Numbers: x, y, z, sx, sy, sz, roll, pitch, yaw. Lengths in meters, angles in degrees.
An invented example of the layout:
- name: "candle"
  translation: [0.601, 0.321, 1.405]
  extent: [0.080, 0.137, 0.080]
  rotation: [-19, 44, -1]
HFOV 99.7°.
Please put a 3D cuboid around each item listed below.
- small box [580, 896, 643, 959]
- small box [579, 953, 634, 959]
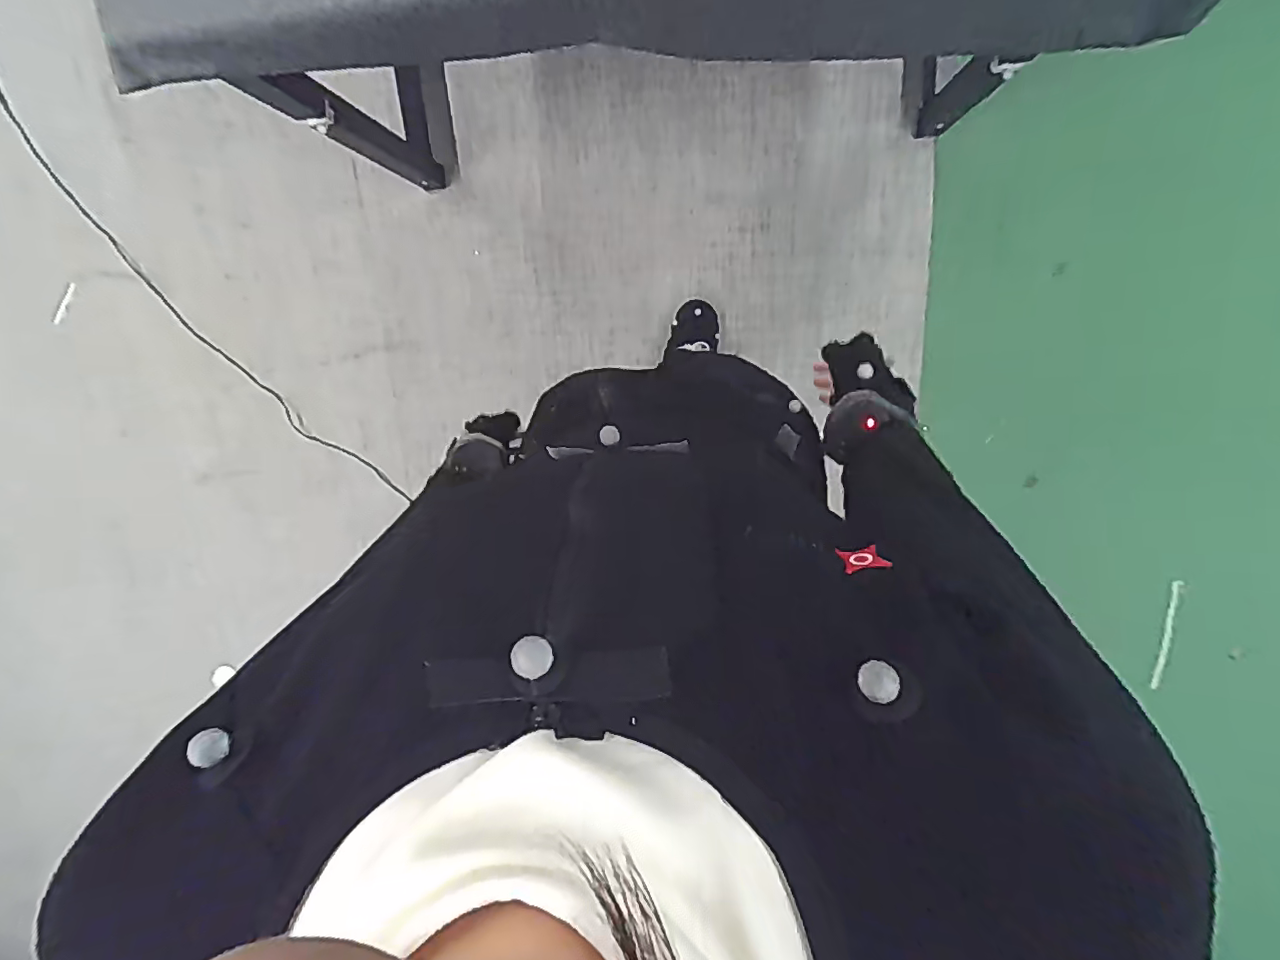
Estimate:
- name: "small box"
  translation: [-0.085, 1.492, 1.754]
  extent: [0.179, 0.176, 0.168]
  rotation: [-5, 107, 6]
- name: "small box"
  translation: [-0.106, 1.525, 1.576]
  extent: [0.179, 0.176, 0.168]
  rotation: [-7, 106, 7]
